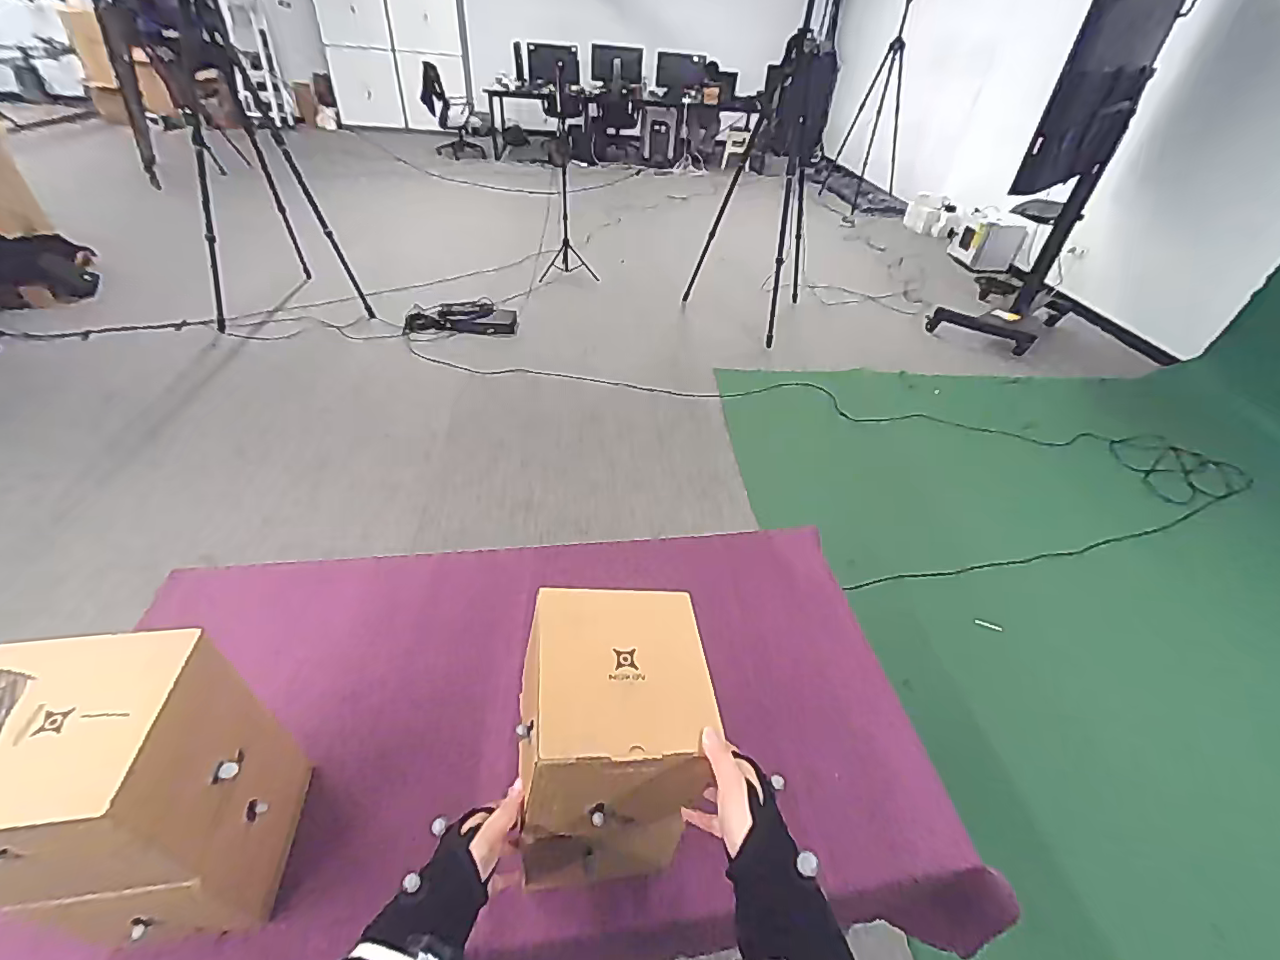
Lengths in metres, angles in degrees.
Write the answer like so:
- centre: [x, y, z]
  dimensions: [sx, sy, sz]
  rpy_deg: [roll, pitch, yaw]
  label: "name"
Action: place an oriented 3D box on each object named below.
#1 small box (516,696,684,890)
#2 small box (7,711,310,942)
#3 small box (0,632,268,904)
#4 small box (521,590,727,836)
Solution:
- centre: [-0.056, 0.373, 0.662]
  dimensions: [0.179, 0.176, 0.168]
  rpy_deg: [-2, 40, -10]
  label: "small box"
- centre: [-0.504, 0.390, 0.608]
  dimensions: [0.168, 0.176, 0.179]
  rpy_deg: [-2, 40, -8]
  label: "small box"
- centre: [-0.495, 0.265, 0.502]
  dimensions: [0.179, 0.176, 0.168]
  rpy_deg: [-2, 41, -9]
  label: "small box"
- centre: [-0.032, 0.238, 0.561]
  dimensions: [0.168, 0.176, 0.179]
  rpy_deg: [5, 40, -14]
  label: "small box"
